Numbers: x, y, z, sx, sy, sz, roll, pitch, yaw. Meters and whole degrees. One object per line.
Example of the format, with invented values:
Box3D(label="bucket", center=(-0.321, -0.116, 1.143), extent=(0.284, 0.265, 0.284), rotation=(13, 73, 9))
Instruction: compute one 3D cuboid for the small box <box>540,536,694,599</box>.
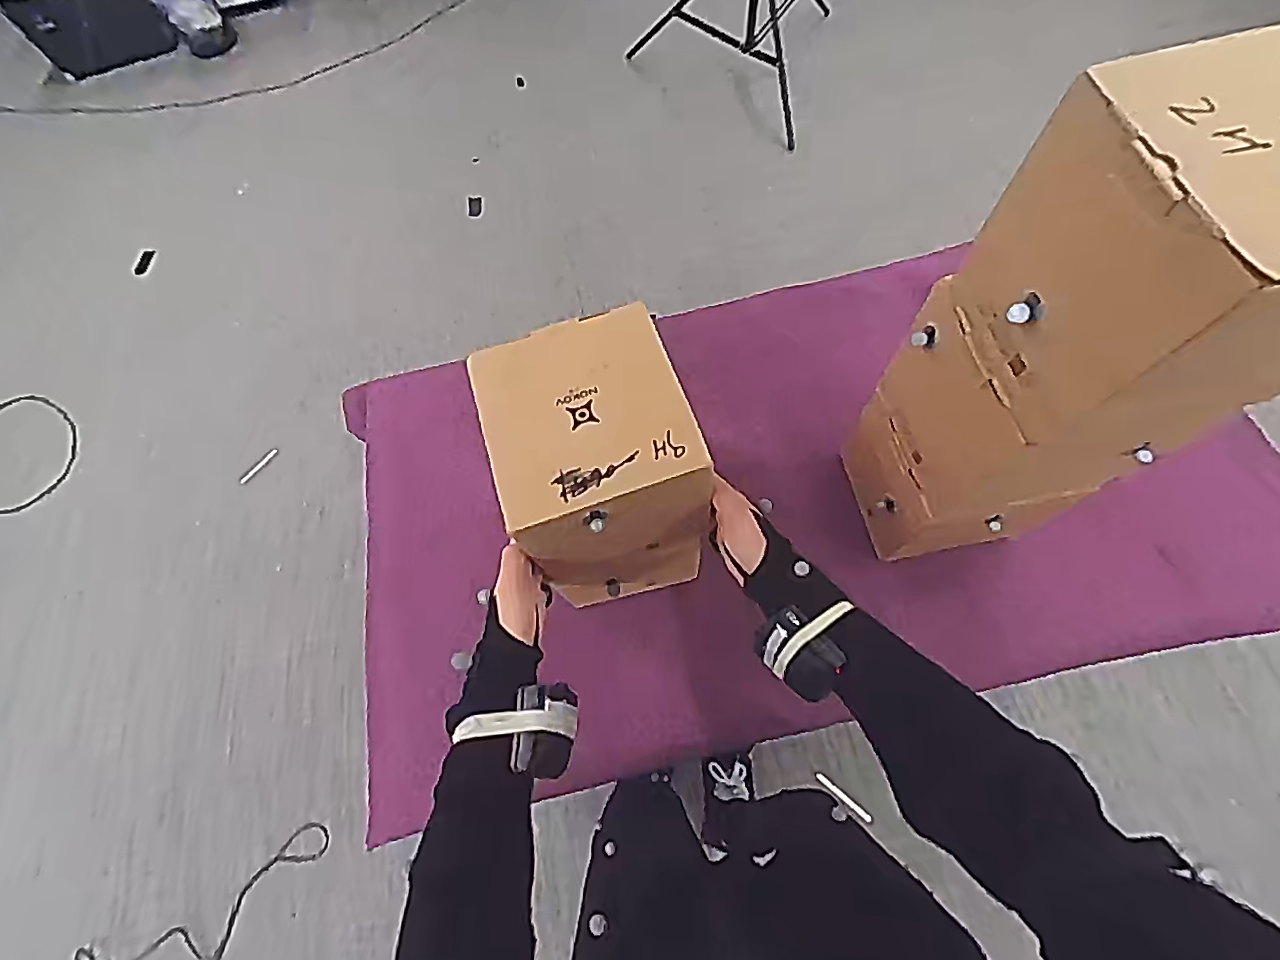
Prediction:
Box3D(label="small box", center=(-0.031, 0.039, 0.664), extent=(0.168, 0.176, 0.179), rotation=(-14, 66, -1))

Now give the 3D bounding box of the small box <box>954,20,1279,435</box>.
Box3D(label="small box", center=(0.352, -0.149, 0.351), extent=(0.179, 0.176, 0.168), rotation=(-12, 66, 0))

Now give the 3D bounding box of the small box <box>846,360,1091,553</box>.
Box3D(label="small box", center=(0.368, -0.021, 0.654), extent=(0.179, 0.176, 0.168), rotation=(-11, 67, -1))

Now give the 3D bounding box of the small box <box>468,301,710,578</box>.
Box3D(label="small box", center=(-0.042, -0.029, 0.513), extent=(0.168, 0.176, 0.179), rotation=(-19, 65, -2))
